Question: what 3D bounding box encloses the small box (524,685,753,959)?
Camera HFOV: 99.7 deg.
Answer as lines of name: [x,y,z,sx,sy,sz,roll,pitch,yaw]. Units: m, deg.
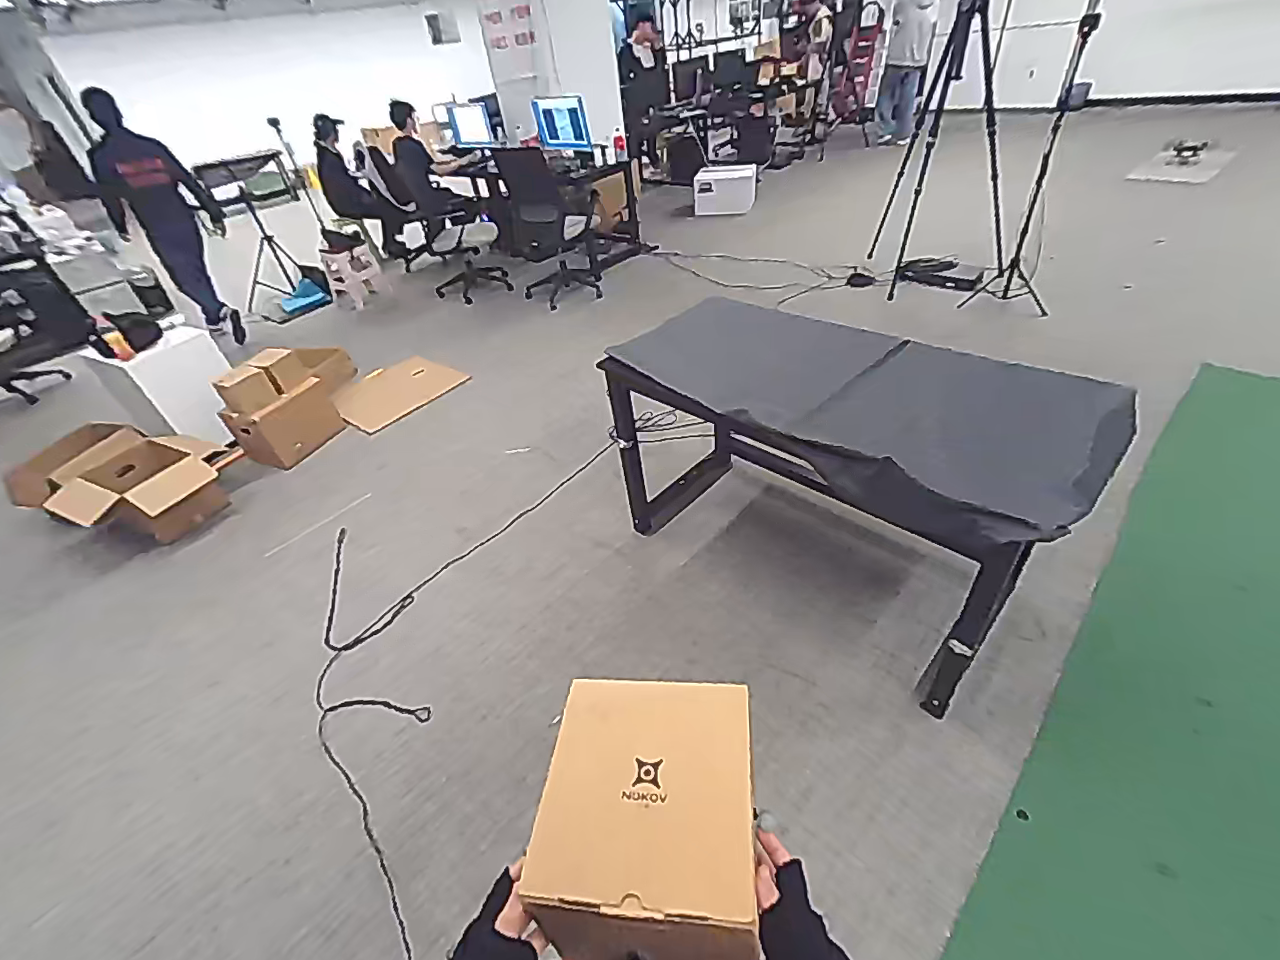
small box: [0.016,0.313,0.488,0.168,0.176,0.179,-2,37,11]
